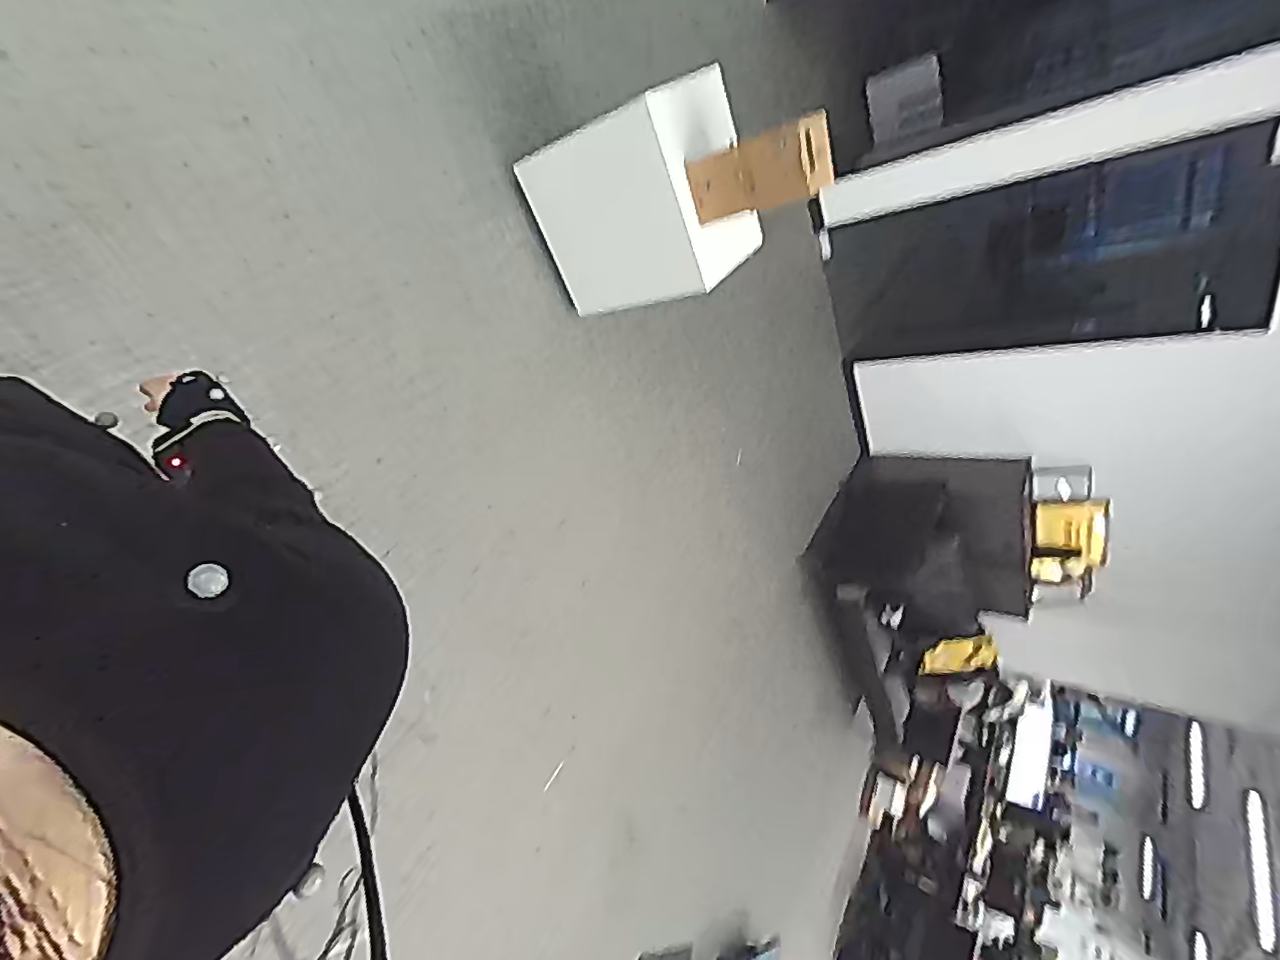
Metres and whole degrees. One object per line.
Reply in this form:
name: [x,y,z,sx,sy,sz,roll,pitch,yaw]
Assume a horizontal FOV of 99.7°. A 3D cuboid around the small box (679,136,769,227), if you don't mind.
small box: [0.235,-0.827,1.506,0.179,0.176,0.168,-46,126,-38]
